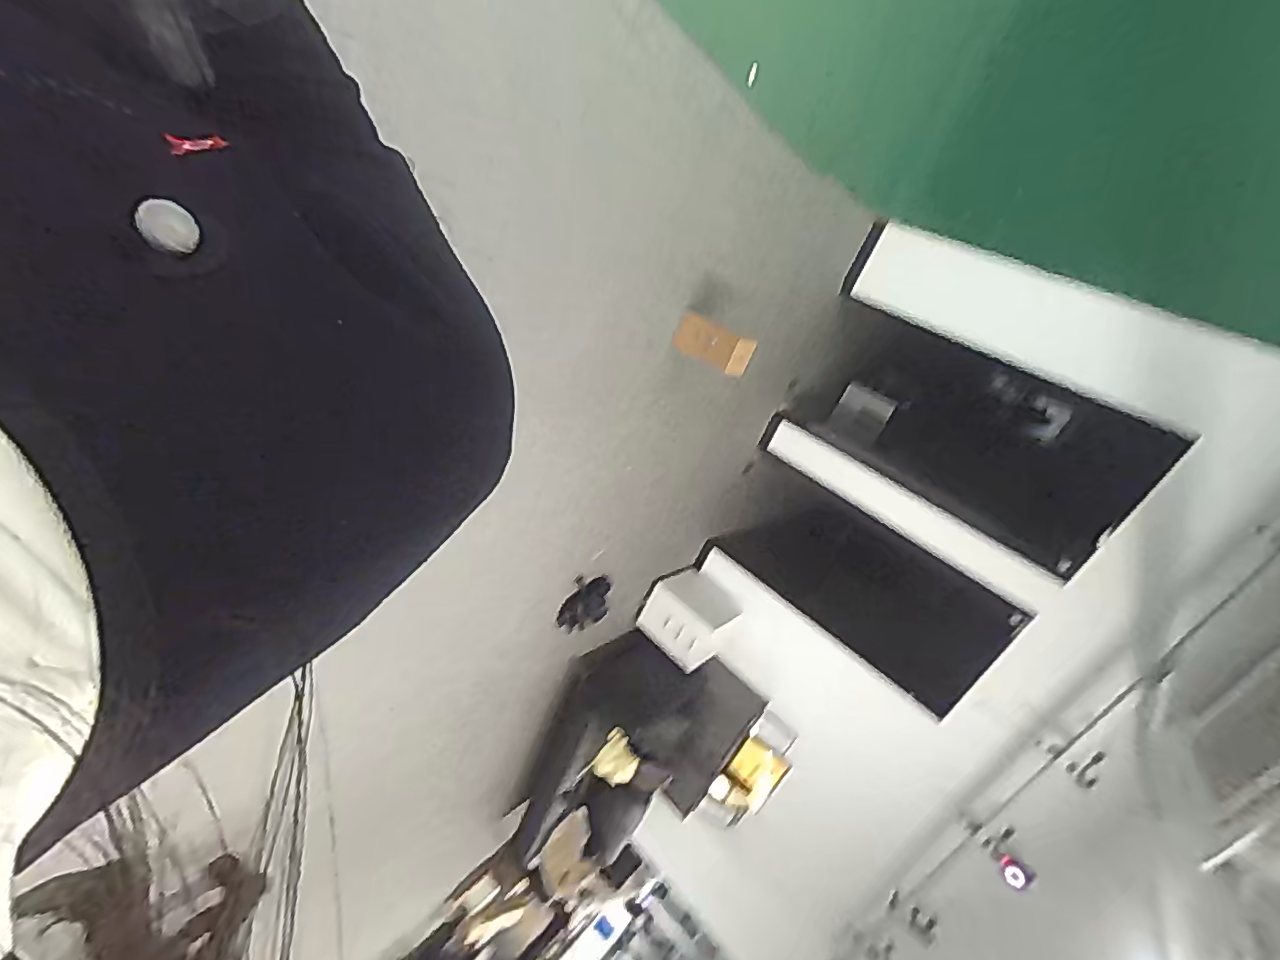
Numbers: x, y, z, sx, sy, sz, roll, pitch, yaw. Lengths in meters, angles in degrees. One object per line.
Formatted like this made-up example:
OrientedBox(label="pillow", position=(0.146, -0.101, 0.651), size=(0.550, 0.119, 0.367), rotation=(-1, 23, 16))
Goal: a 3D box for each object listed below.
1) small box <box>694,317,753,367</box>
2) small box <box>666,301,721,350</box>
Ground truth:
OrientedBox(label="small box", position=(0.379, -0.631, 2.477), size=(0.179, 0.176, 0.168), rotation=(-9, 128, -52))
OrientedBox(label="small box", position=(0.248, -0.726, 2.553), size=(0.168, 0.176, 0.179), rotation=(-9, 129, -53))
